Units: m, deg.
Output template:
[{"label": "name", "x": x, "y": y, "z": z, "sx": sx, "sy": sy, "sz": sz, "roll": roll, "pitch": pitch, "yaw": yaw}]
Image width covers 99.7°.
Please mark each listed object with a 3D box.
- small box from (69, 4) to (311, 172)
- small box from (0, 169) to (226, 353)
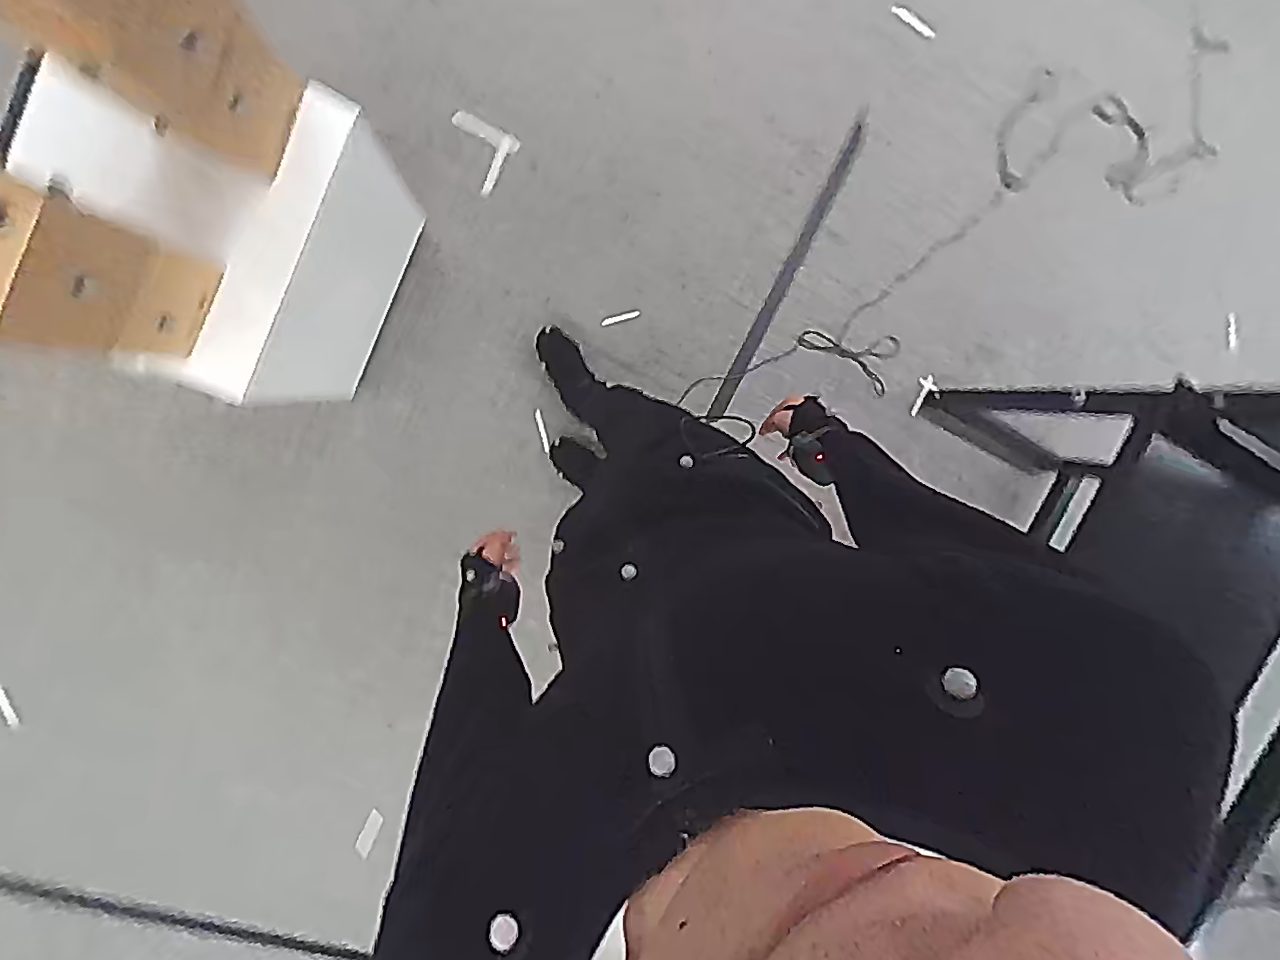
[{"label": "small box", "x": -0.601, "y": -0.564, "z": 0.745, "sx": 0.179, "sy": 0.176, "sz": 0.168, "roll": 22, "pitch": 97, "yaw": -13}, {"label": "small box", "x": -0.746, "y": -0.292, "z": 0.769, "sx": 0.179, "sy": 0.176, "sz": 0.168, "roll": 25, "pitch": 94, "yaw": -13}]
